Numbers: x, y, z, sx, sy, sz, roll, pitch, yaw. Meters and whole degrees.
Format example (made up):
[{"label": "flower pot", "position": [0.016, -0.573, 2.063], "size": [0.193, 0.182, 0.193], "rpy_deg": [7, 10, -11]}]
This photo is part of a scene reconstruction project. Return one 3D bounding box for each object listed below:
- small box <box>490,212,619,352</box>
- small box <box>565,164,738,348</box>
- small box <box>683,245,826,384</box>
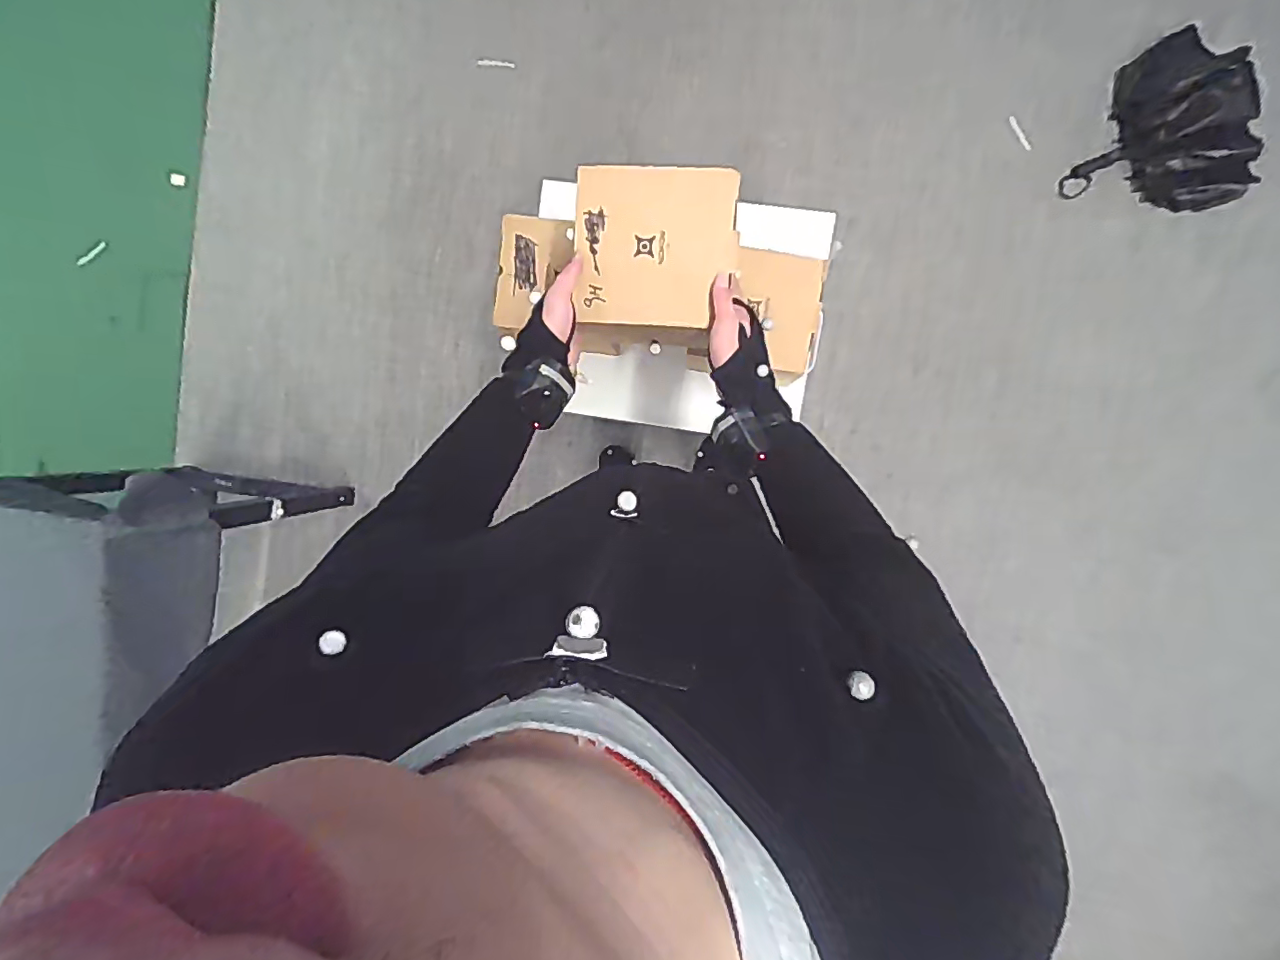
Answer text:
[{"label": "small box", "position": [-0.121, -0.307, 0.869], "size": [0.179, 0.176, 0.168], "rpy_deg": [8, 96, 3]}, {"label": "small box", "position": [0.016, -0.257, 0.657], "size": [0.179, 0.176, 0.168], "rpy_deg": [5, 97, 4]}, {"label": "small box", "position": [0.171, -0.250, 0.846], "size": [0.179, 0.176, 0.168], "rpy_deg": [11, 94, 7]}]
